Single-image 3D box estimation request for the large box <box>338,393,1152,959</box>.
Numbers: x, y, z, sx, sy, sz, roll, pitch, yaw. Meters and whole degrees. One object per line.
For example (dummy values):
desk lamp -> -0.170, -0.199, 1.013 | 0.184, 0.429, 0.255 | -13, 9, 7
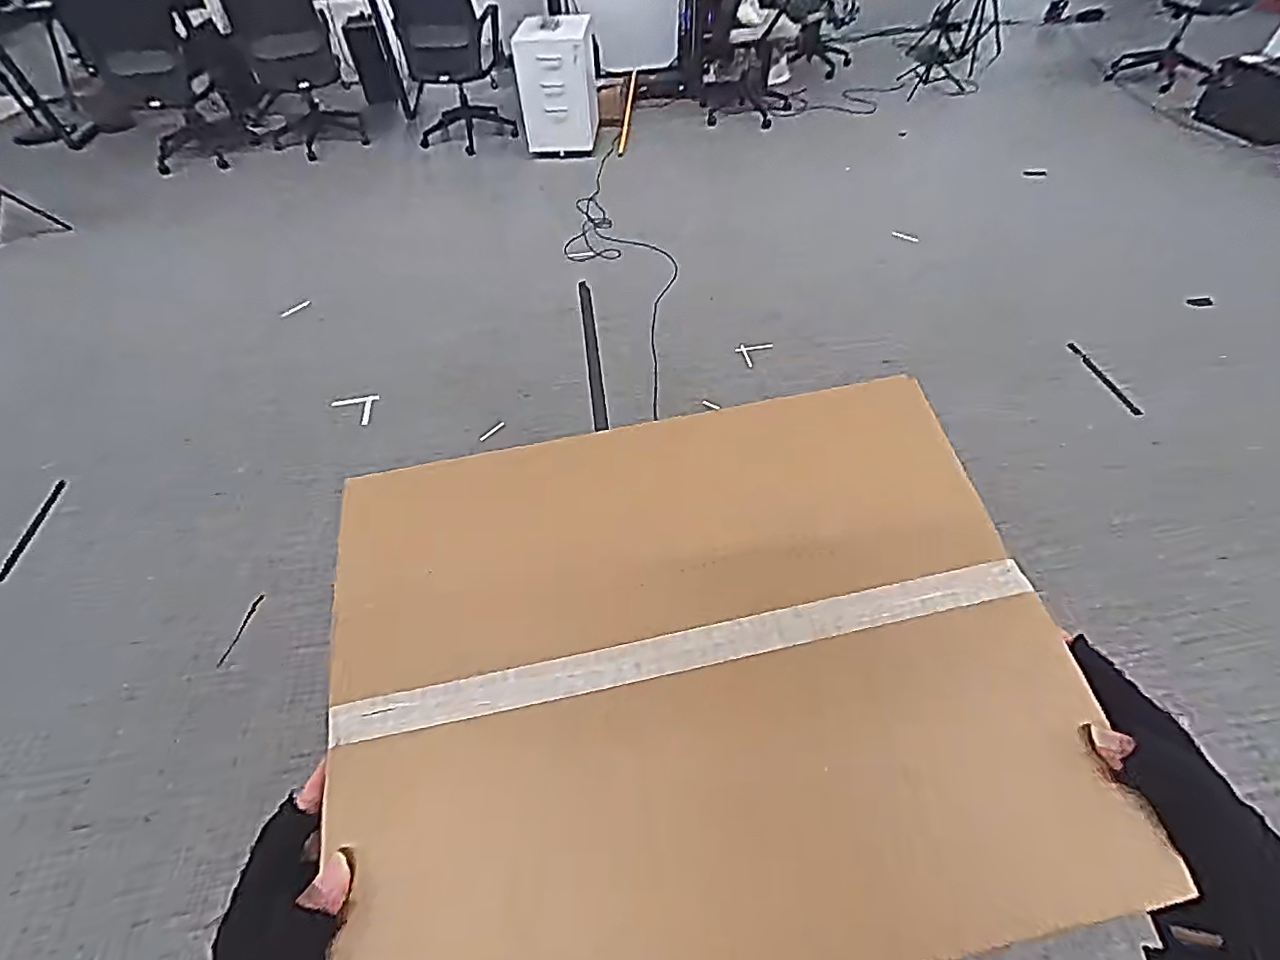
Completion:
large box -> 0.036, 0.173, 0.449 | 0.408, 0.320, 0.320 | -11, 62, -3
